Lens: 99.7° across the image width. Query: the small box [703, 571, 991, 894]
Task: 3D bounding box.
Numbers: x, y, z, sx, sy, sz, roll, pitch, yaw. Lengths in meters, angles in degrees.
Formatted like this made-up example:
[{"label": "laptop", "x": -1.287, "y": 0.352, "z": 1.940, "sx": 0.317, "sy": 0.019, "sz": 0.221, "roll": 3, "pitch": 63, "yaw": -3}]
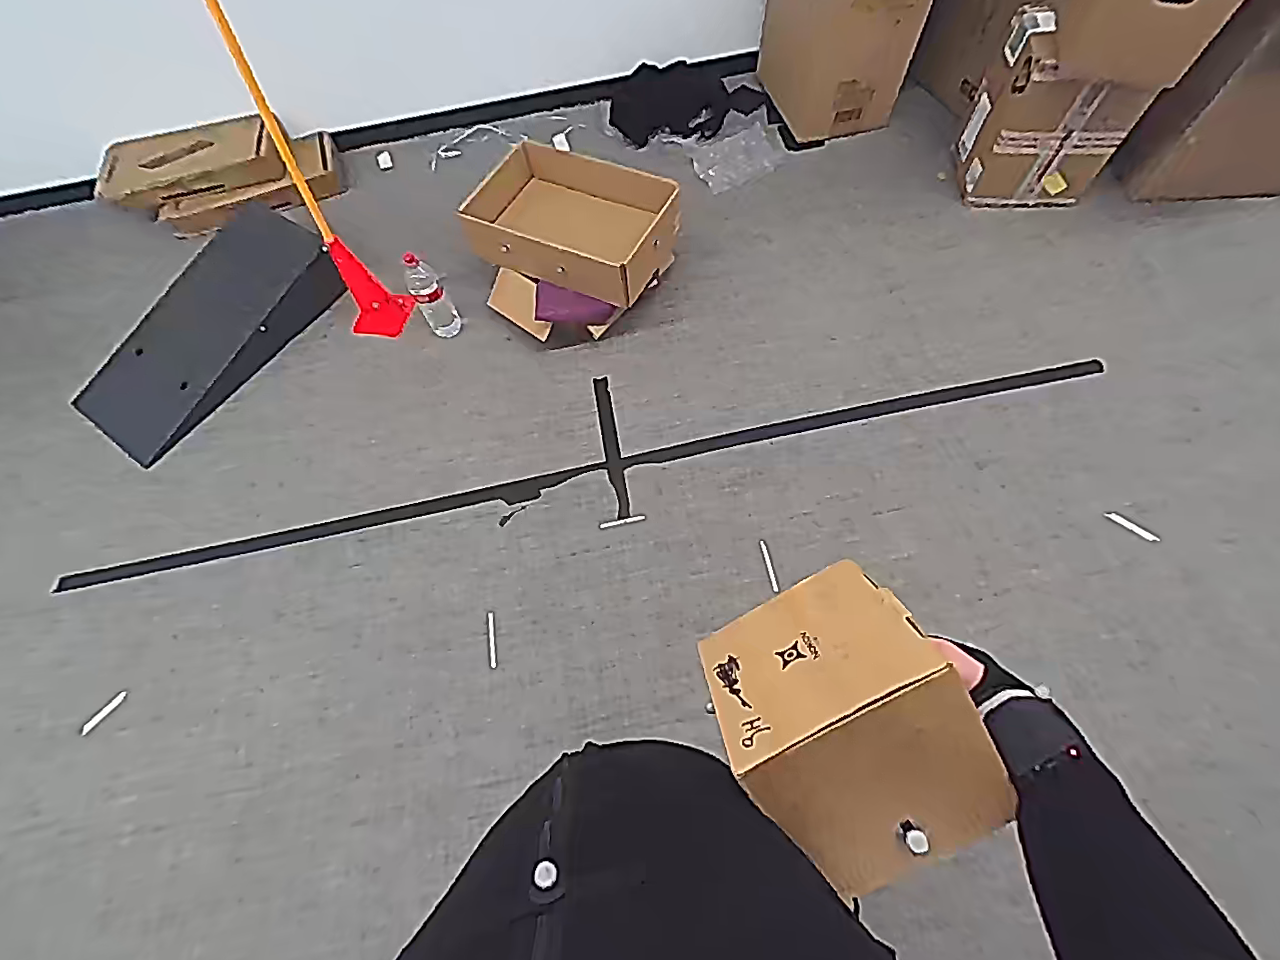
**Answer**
[{"label": "small box", "x": 0.184, "y": 0.222, "z": 0.497, "sx": 0.179, "sy": 0.168, "sz": 0.176, "roll": -31, "pitch": 107, "yaw": 6}]
